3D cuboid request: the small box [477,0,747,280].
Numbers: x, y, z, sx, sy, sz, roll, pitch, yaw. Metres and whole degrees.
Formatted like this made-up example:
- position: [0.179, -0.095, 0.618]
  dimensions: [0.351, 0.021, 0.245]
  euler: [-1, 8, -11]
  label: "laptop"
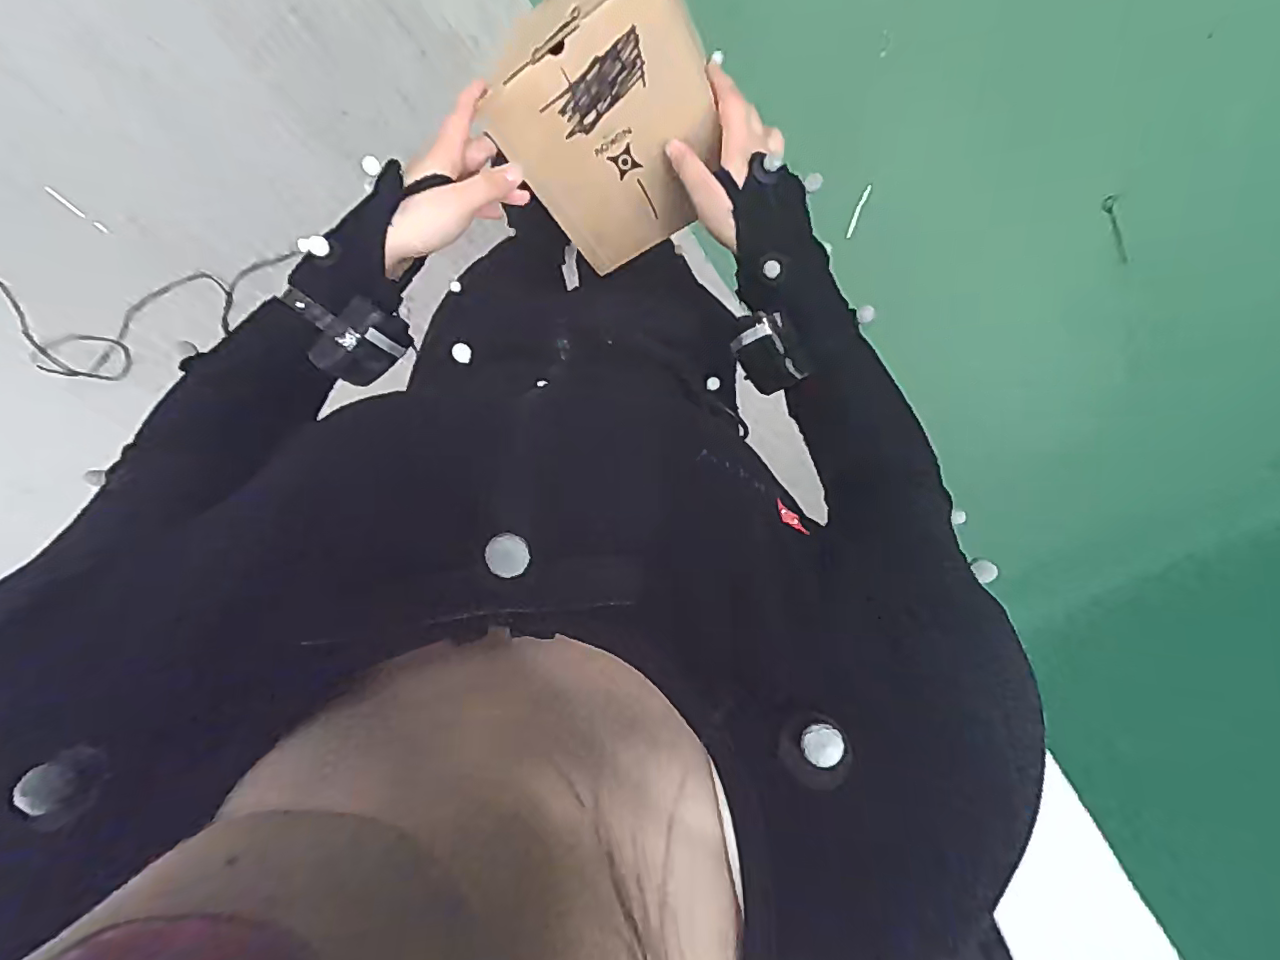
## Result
- position: [-0.020, -0.331, 0.495]
  dimensions: [0.168, 0.176, 0.179]
  euler: [-20, 142, 24]
  label: "small box"
